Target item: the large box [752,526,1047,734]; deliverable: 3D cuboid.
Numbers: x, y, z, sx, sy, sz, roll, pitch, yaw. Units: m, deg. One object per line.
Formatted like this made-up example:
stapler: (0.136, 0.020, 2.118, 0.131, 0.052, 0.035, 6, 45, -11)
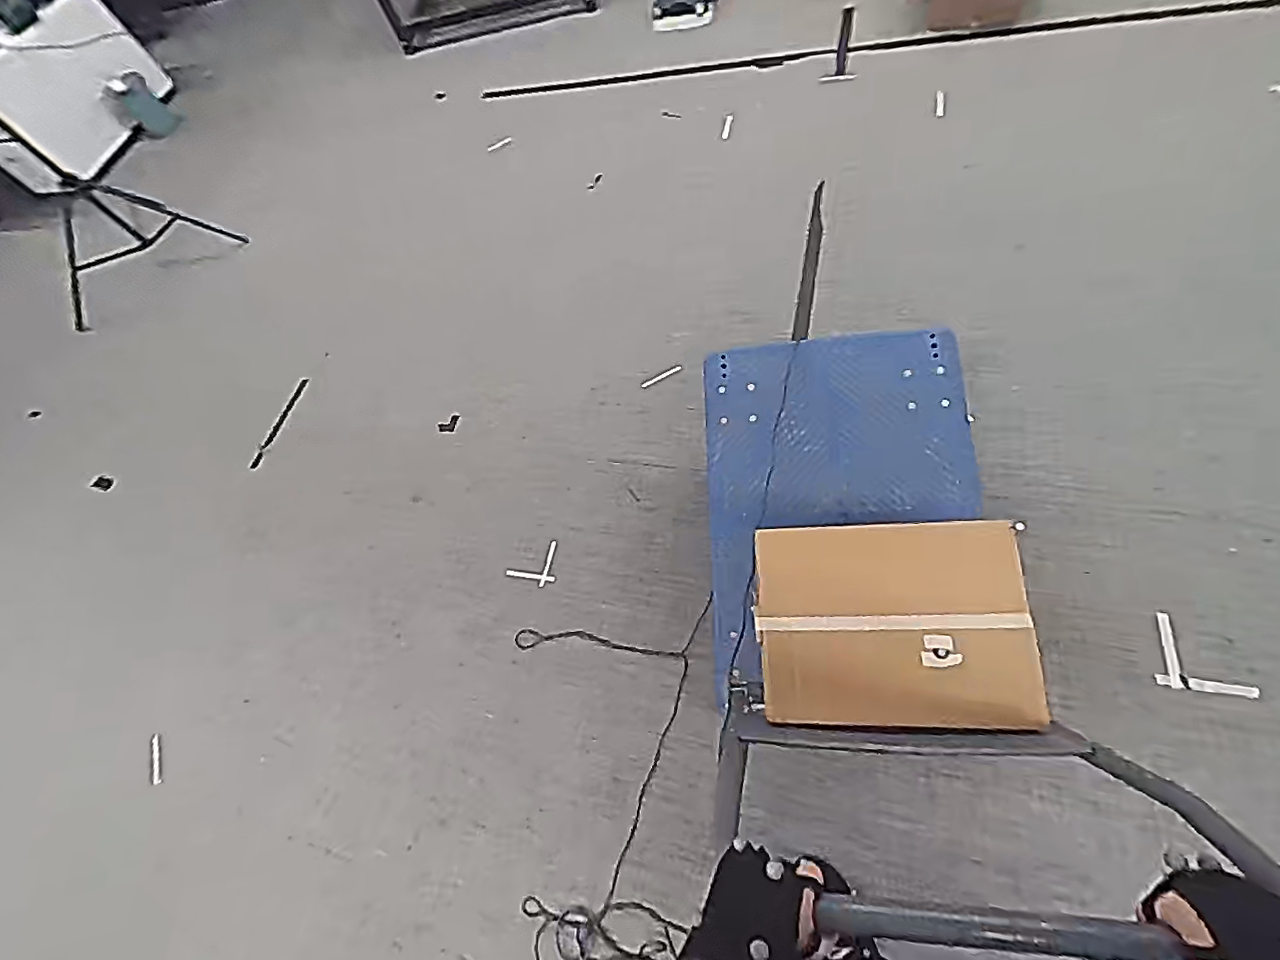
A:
large box: (0.423, 0.270, 0.998, 0.408, 0.320, 0.320, -3, 77, 11)
